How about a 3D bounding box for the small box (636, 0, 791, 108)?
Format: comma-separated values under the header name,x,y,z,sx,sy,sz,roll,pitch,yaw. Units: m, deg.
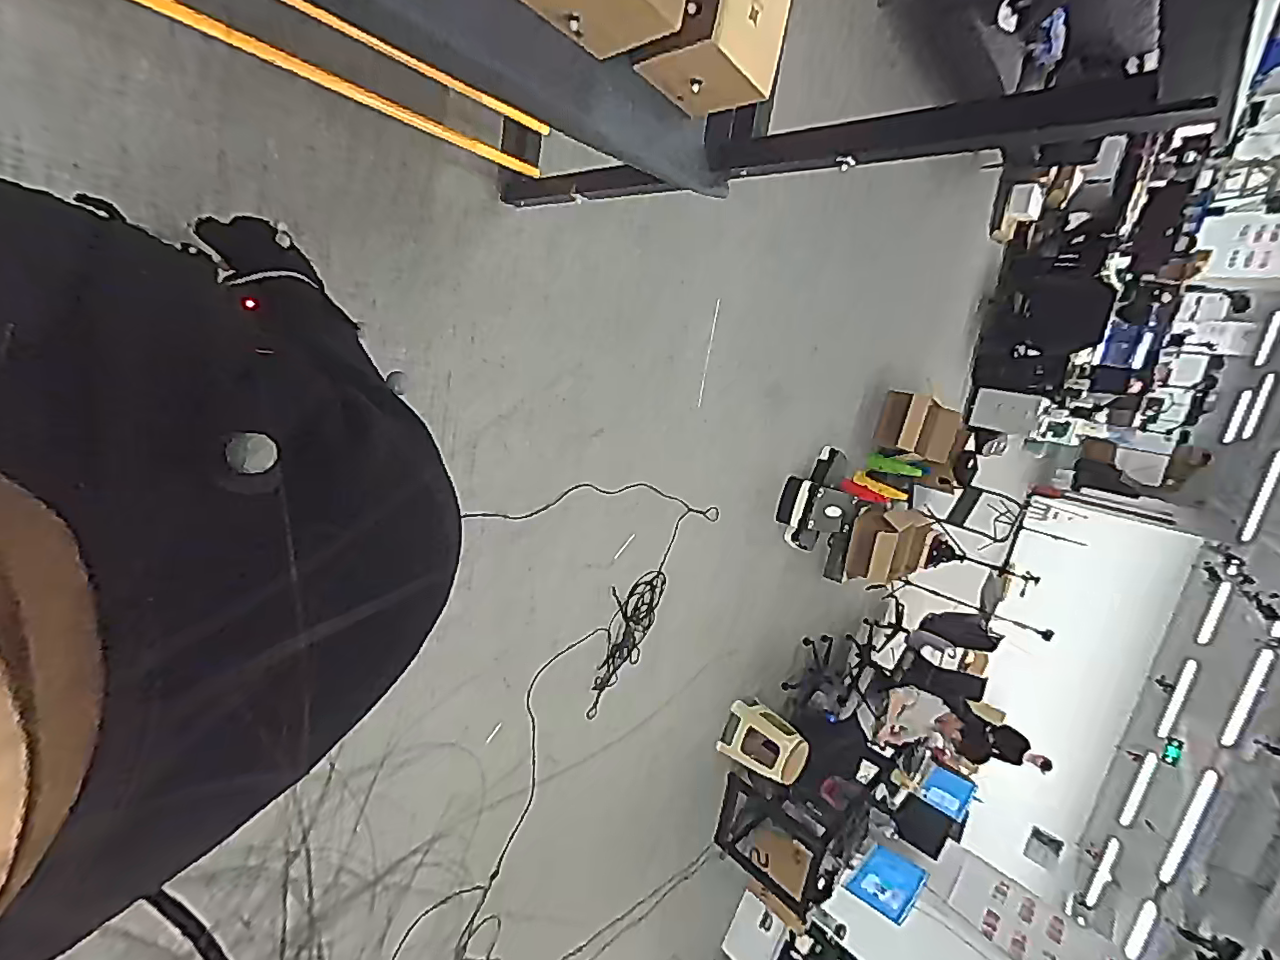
name,x,y,z,sx,sy,sz,roll,pitch,yaw
small box,0.115,-0.738,0.869,0.168,0.176,0.179,1,104,-48
